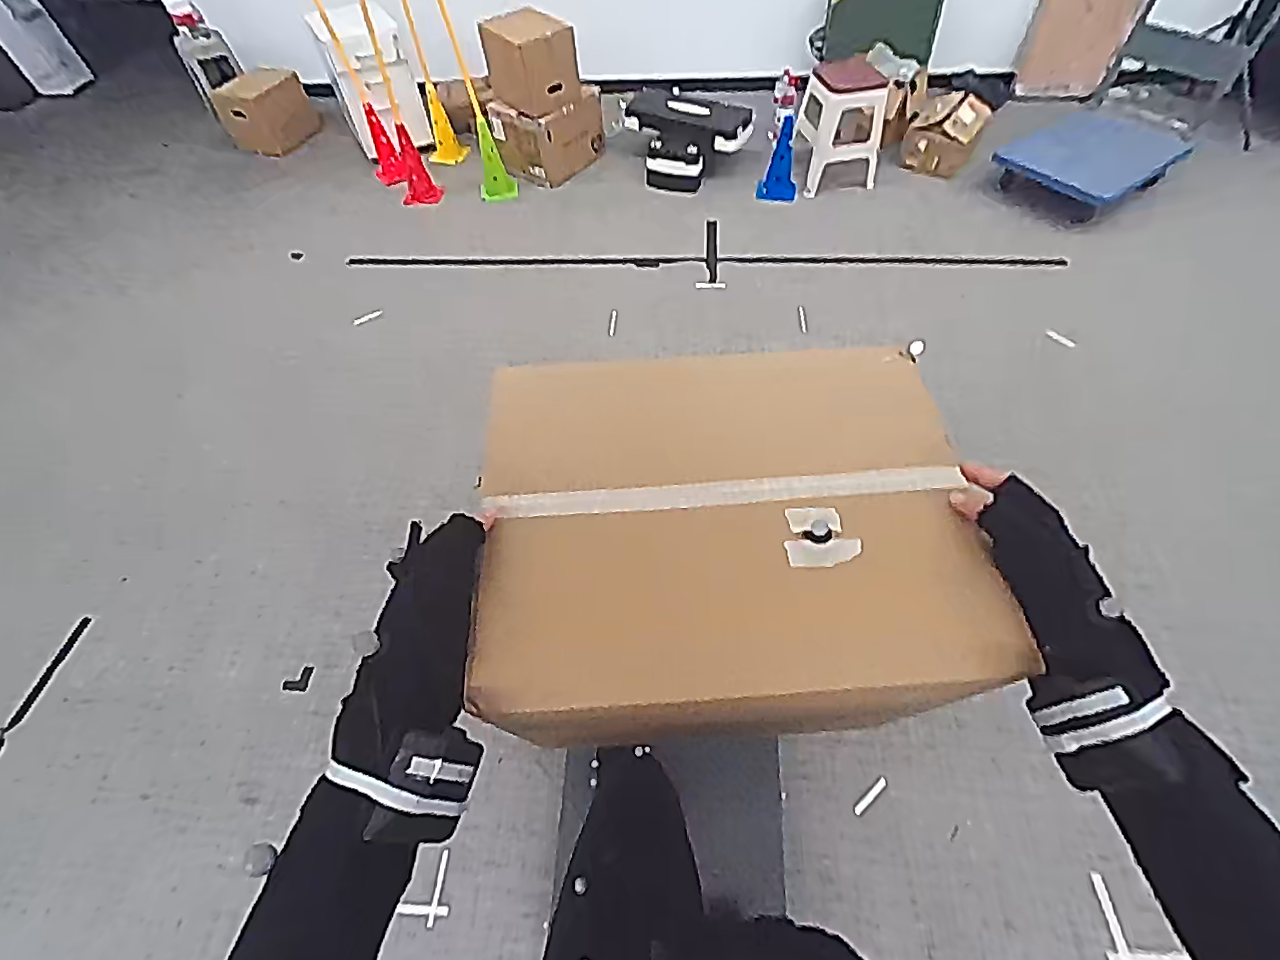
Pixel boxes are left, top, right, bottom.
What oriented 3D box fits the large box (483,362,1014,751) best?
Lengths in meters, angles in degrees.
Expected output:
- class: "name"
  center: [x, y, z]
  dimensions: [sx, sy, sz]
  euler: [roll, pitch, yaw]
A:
- class: "large box"
  center: [0.071, 0.099, 0.597]
  dimensions: [0.408, 0.320, 0.320]
  euler: [-3, 59, -2]
